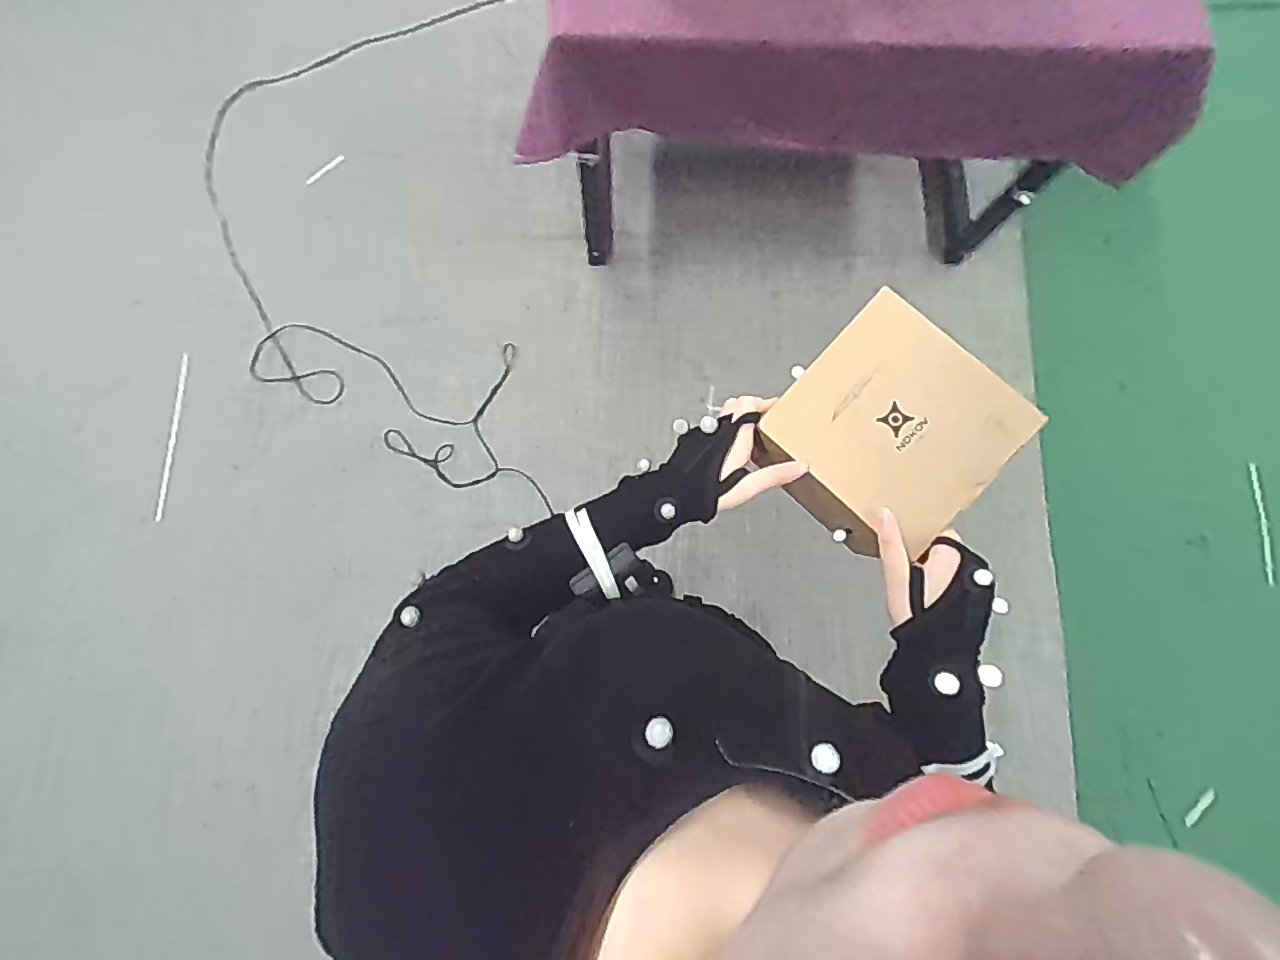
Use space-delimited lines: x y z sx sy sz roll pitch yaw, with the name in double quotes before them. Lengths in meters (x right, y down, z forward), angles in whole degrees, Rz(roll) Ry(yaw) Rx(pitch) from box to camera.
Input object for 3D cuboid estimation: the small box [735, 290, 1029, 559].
"small box" 0.216 -0.045 0.538 0.179 0.176 0.168 43 90 7
